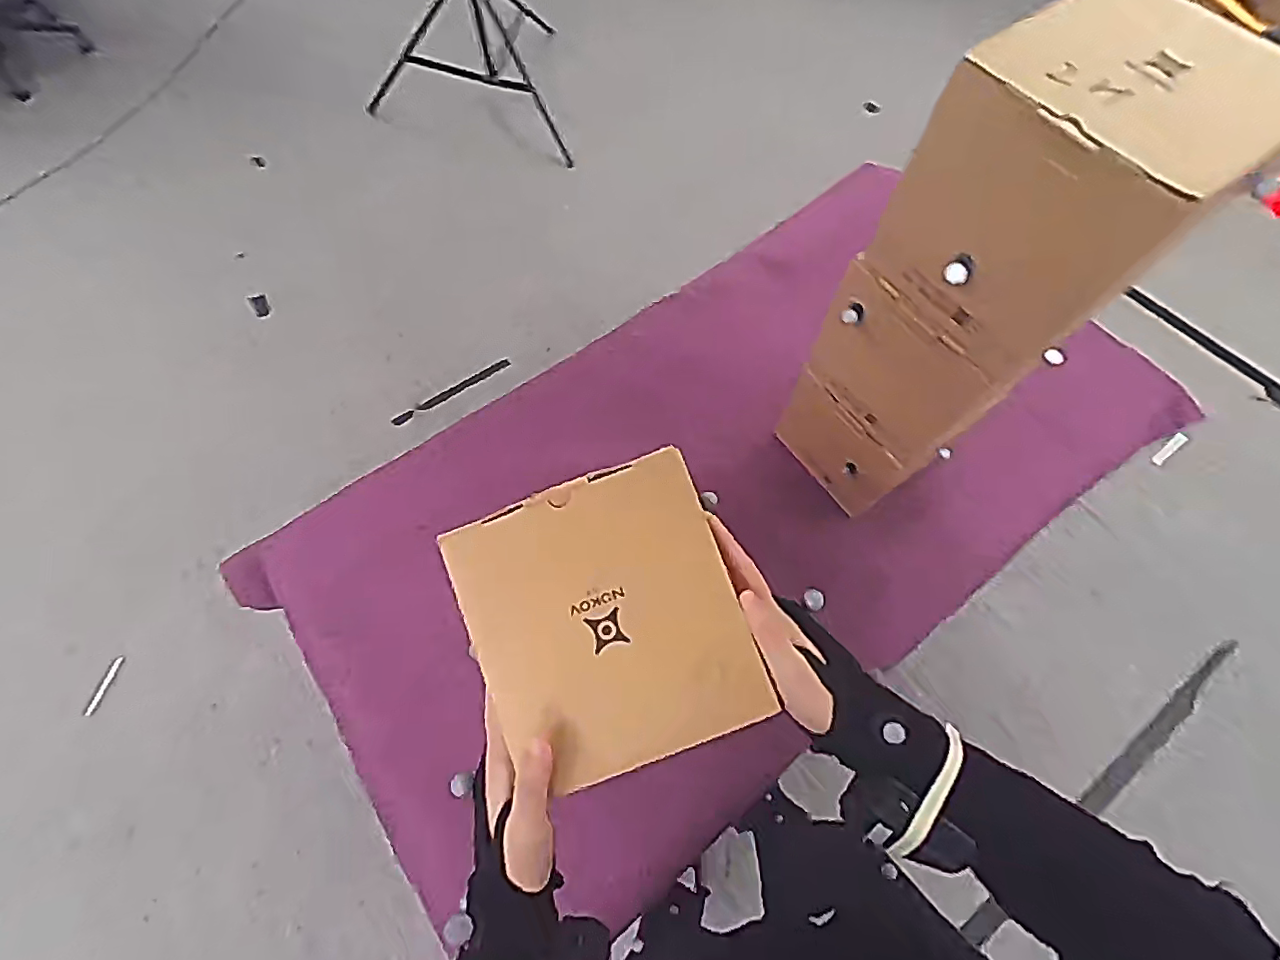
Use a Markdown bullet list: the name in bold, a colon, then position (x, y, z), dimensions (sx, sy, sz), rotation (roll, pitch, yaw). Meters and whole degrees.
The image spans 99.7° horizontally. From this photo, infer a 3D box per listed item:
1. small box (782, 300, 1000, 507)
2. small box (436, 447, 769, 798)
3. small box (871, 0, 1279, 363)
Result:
- **small box**: position (0.308, -0.092, 0.711), dimensions (0.179, 0.176, 0.168), rotation (-33, 71, -14)
- **small box**: position (-0.020, 0.092, 0.411), dimensions (0.168, 0.176, 0.179), rotation (-21, 84, 1)
- **small box**: position (0.315, -0.226, 0.410), dimensions (0.179, 0.176, 0.168), rotation (-34, 70, -13)
